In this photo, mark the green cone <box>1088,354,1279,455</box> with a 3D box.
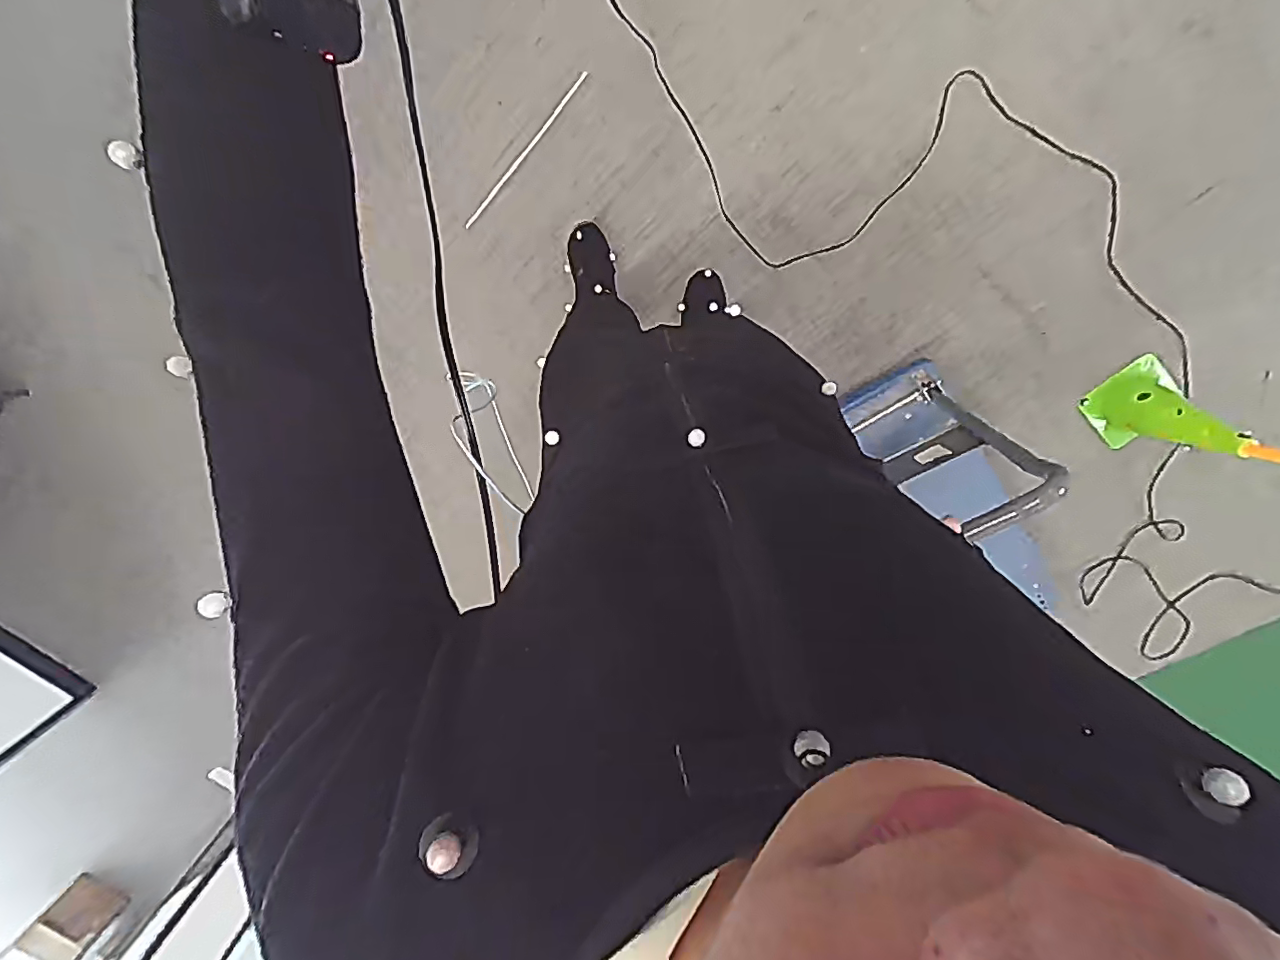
[{"bbox_3d":[1.311,-0.135,1.278,0.200,0.368,0.202,41,112,-13],"label":"green cone"}]
